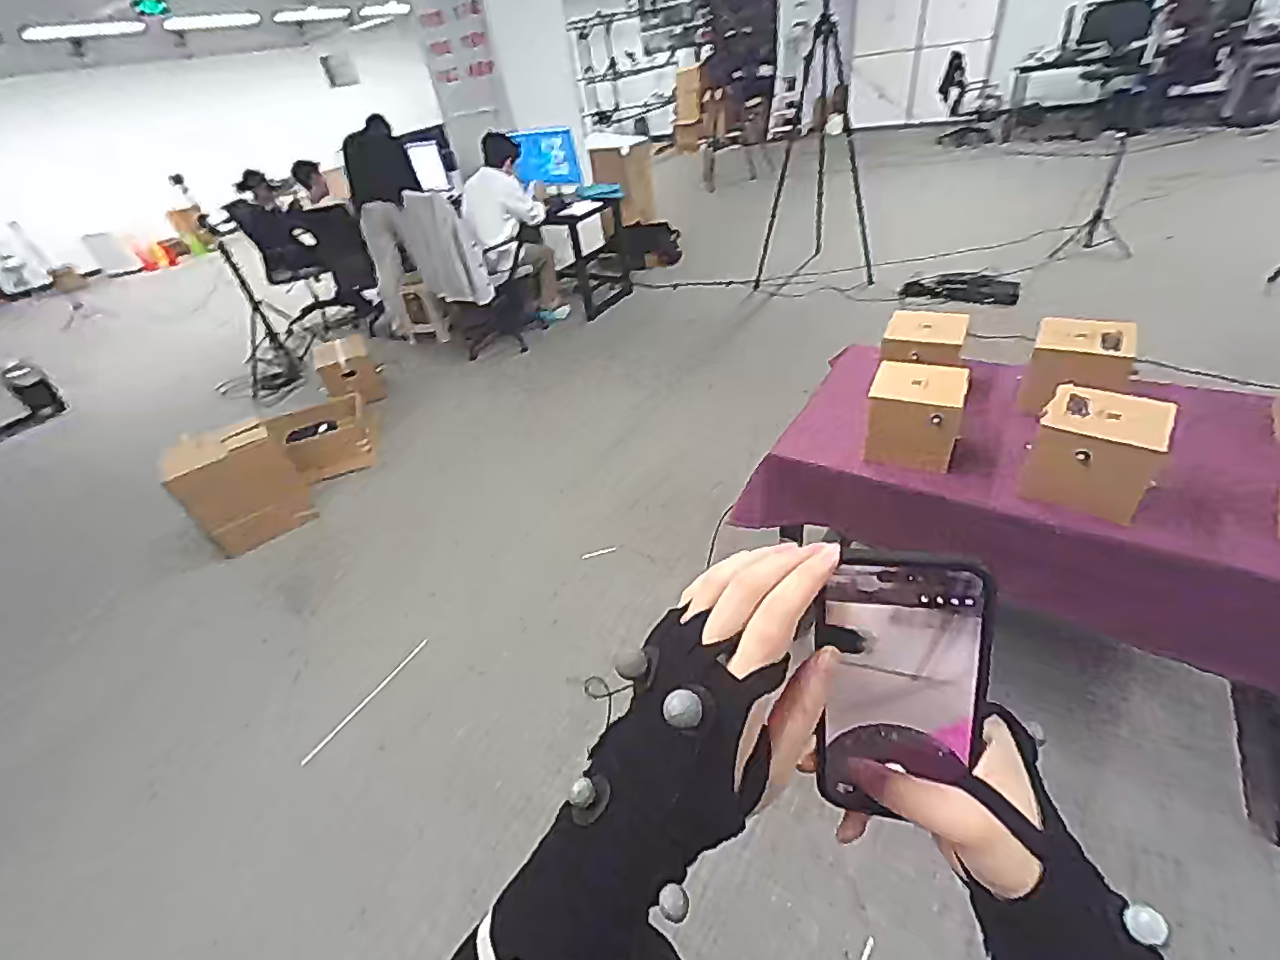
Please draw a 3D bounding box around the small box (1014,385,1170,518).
[{"bbox_3d":[0.843,-0.054,1.021,0.179,0.176,0.168,23,49,34],"label":"small box"}]

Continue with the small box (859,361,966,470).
[{"bbox_3d":[0.595,-0.142,1.191,0.179,0.176,0.168,14,44,26],"label":"small box"}]

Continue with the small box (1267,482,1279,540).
[{"bbox_3d":[1.164,0.021,0.852,0.179,0.176,0.168,24,49,35],"label":"small box"}]

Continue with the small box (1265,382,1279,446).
[{"bbox_3d":[1.352,-0.157,1.030,0.168,0.176,0.179,20,48,34],"label":"small box"}]
